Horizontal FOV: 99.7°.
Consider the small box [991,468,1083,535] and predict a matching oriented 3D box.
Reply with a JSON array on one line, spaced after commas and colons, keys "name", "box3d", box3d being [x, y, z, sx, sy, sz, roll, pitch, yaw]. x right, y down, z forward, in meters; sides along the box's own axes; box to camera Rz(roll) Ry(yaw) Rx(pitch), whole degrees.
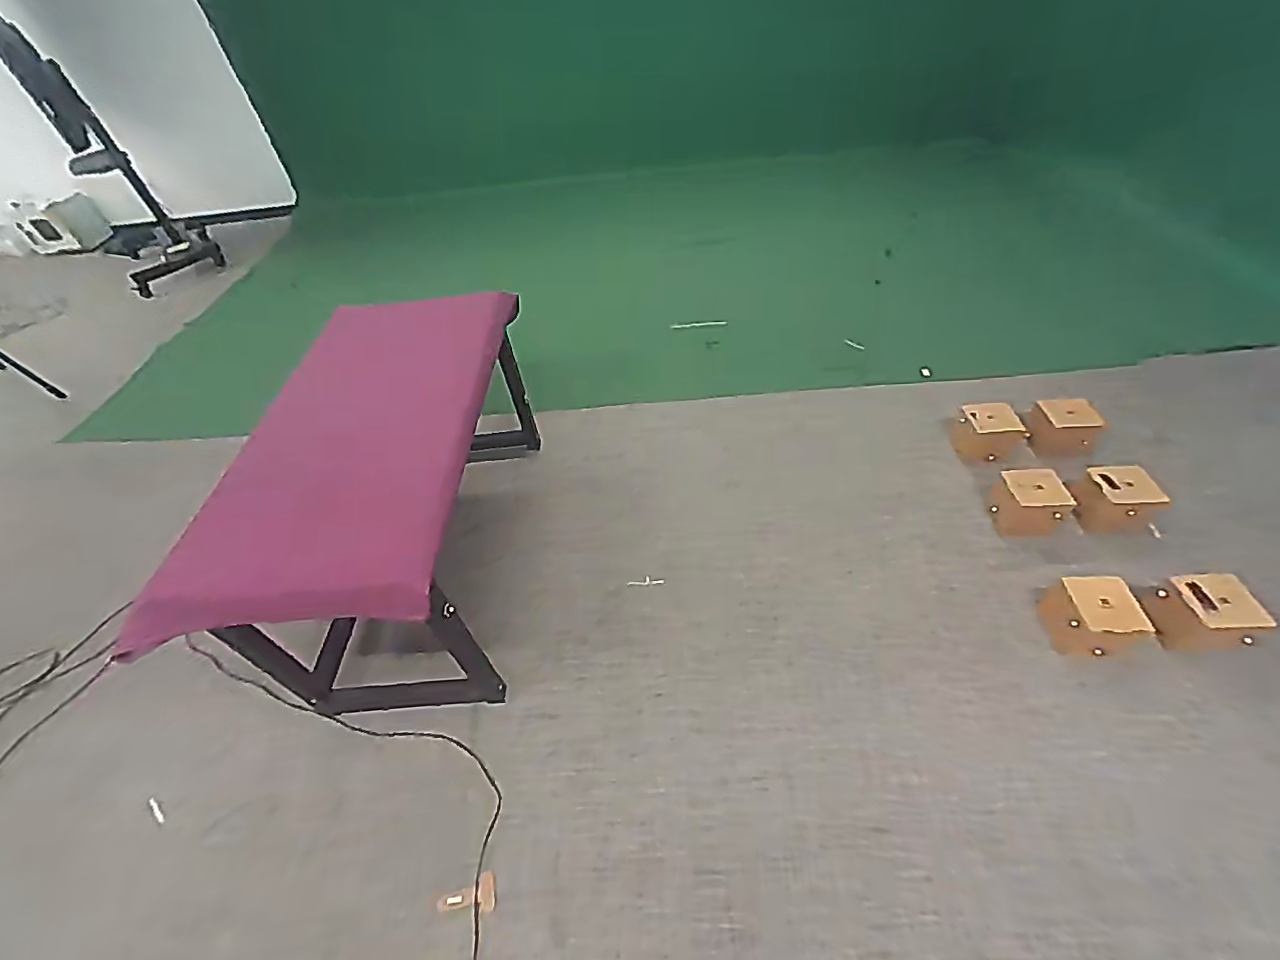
[{"name": "small box", "box3d": [1.355, 0.076, 1.859, 0.179, 0.176, 0.168, -3, 46, 6]}]

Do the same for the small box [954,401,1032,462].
[{"name": "small box", "box3d": [1.366, -0.186, 2.103, 0.179, 0.176, 0.168, -3, 46, 4]}]

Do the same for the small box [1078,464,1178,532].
[{"name": "small box", "box3d": [1.631, 0.063, 1.829, 0.179, 0.176, 0.168, -2, 47, 6]}]

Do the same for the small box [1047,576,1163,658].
[{"name": "small box", "box3d": [1.331, 0.397, 1.566, 0.168, 0.176, 0.179, -3, 48, 6]}]
